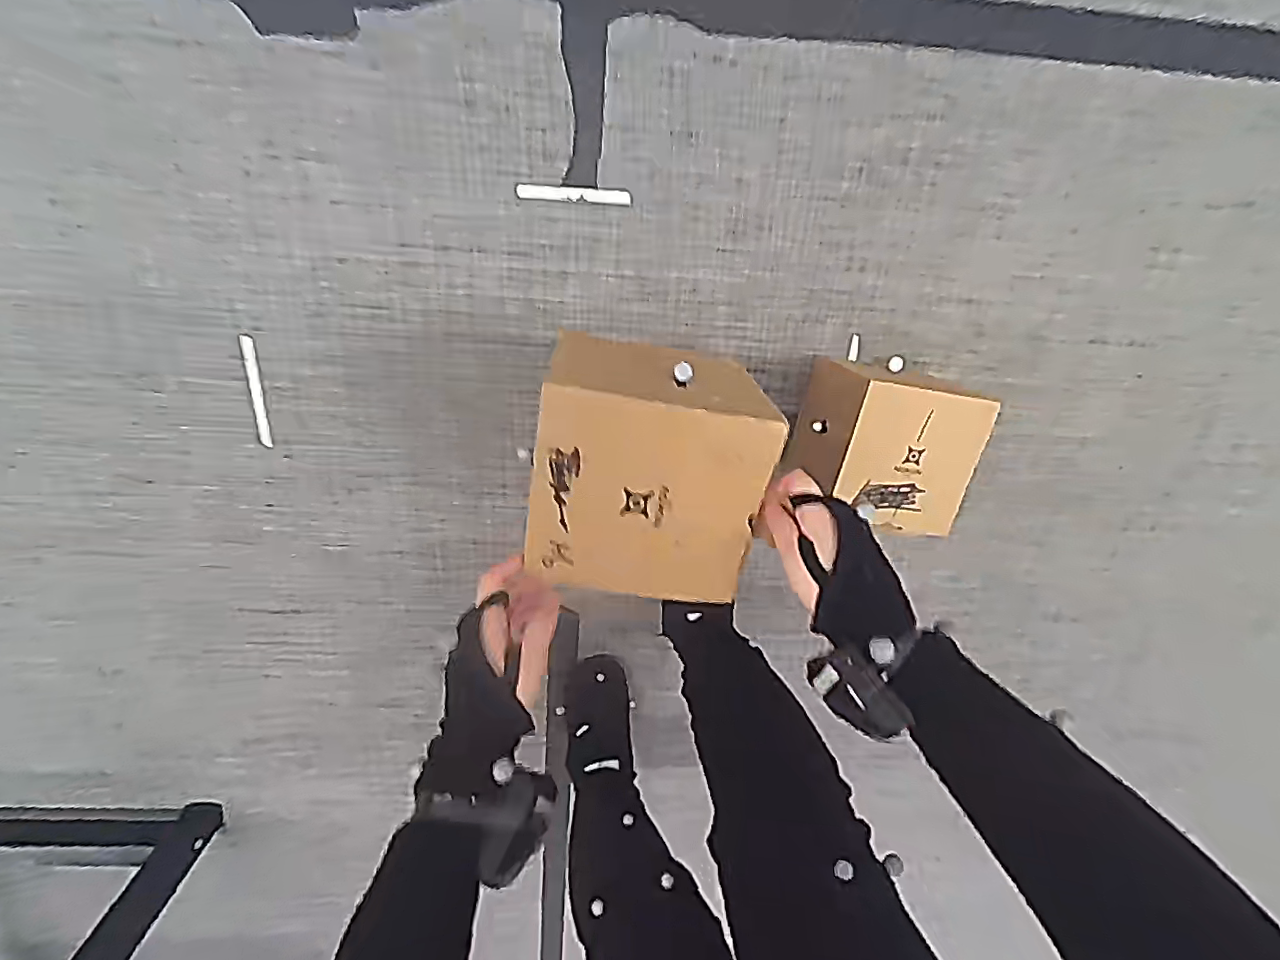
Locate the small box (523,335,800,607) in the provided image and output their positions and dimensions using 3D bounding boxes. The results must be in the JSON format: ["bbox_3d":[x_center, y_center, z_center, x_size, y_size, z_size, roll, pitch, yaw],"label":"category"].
[{"bbox_3d":[0.005,-0.016,0.461,0.179,0.176,0.168,8,116,-8],"label":"small box"}]

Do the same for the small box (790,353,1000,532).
[{"bbox_3d":[0.312,-0.056,0.709,0.168,0.176,0.179,8,111,-8],"label":"small box"}]
